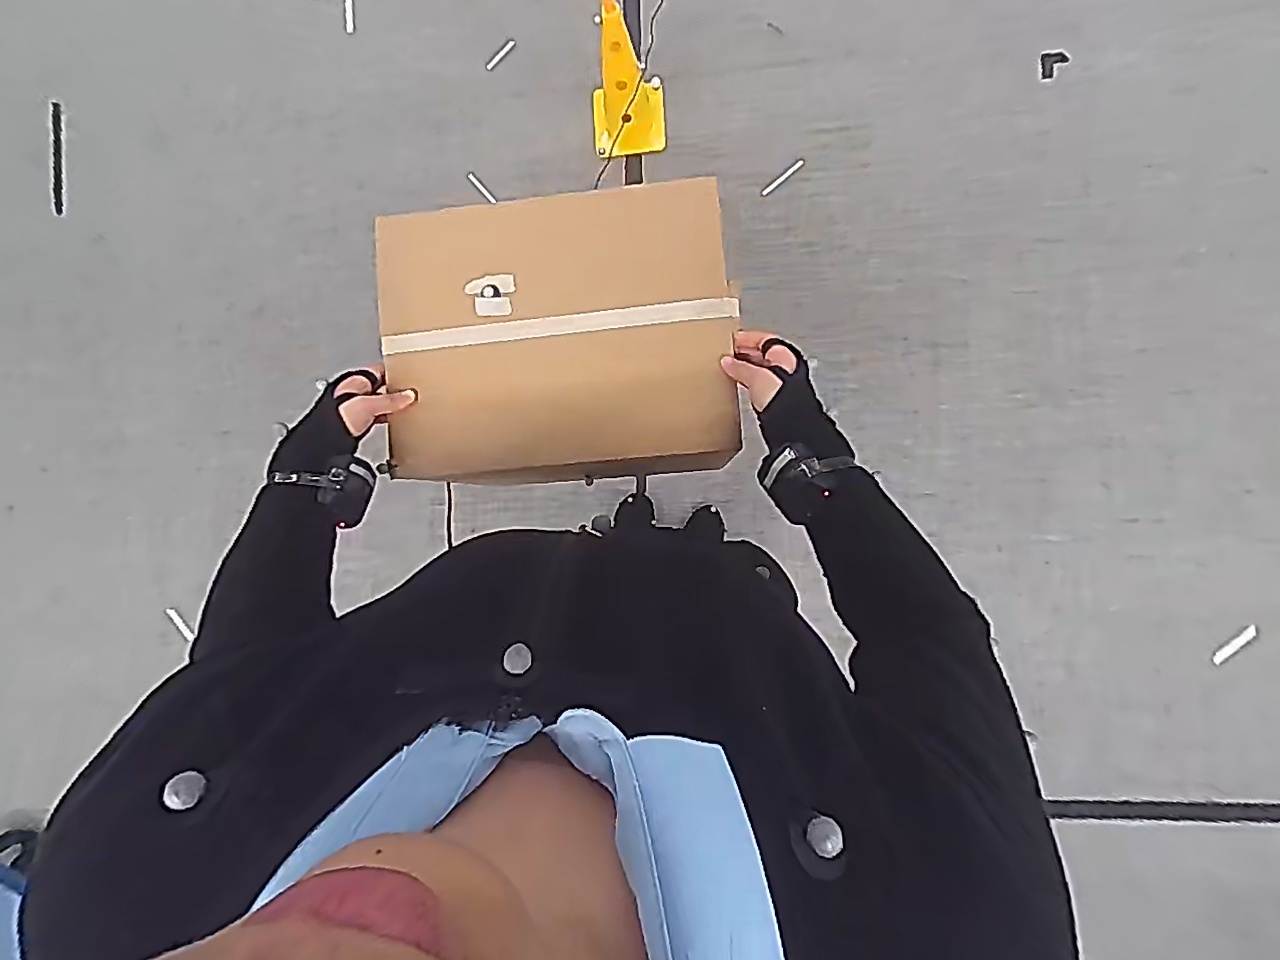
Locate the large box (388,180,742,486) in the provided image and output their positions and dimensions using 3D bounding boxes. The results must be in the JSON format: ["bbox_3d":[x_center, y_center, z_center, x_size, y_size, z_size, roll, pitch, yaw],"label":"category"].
[{"bbox_3d":[-0.080,-0.166,0.775,0.408,0.320,0.320,-5,85,6],"label":"large box"}]
